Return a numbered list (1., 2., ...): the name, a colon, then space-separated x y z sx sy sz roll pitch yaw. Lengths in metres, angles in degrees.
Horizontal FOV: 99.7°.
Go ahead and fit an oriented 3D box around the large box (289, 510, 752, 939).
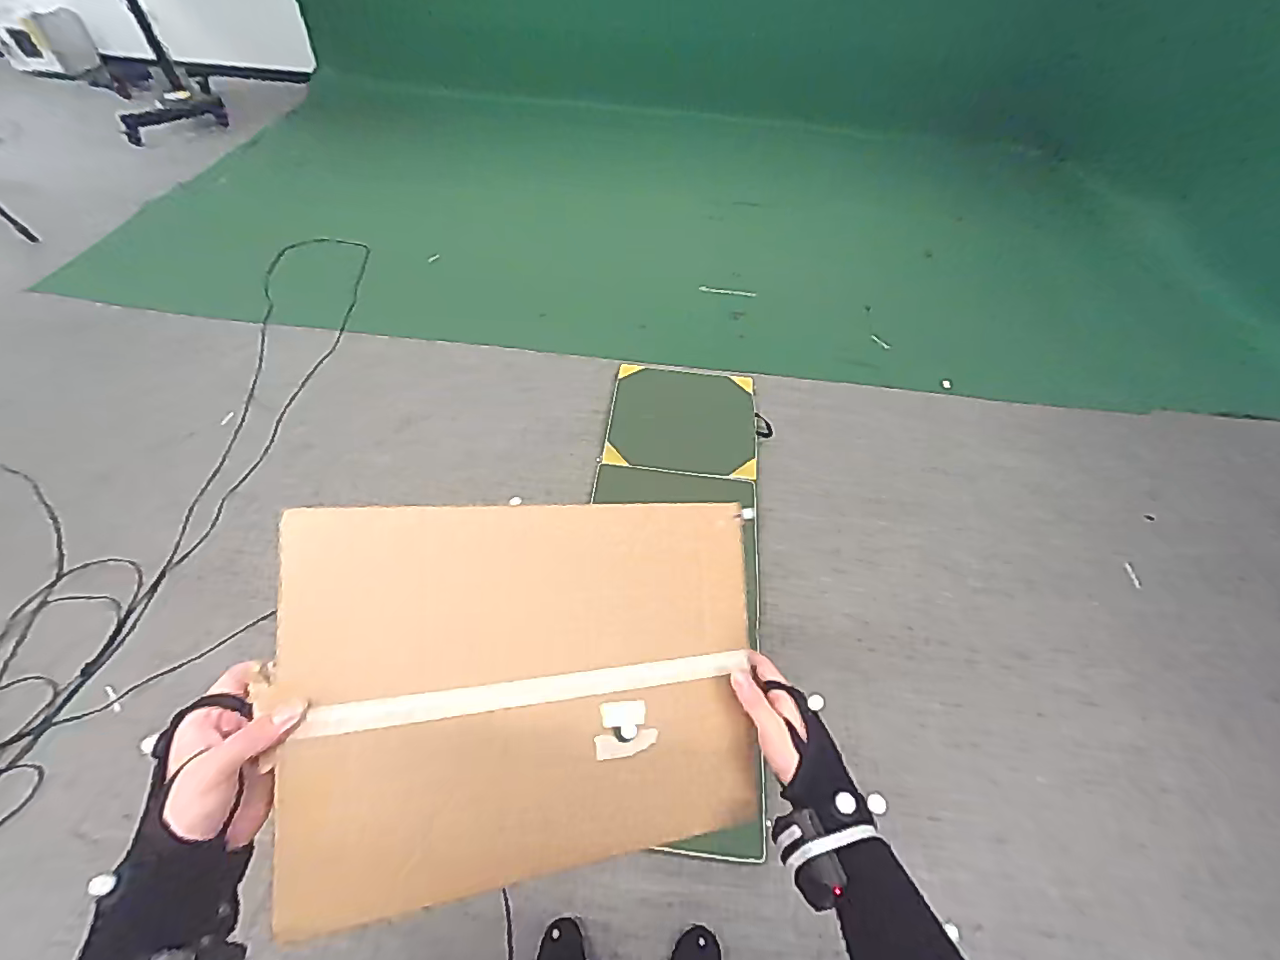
1. large box: -0.134 0.202 0.618 0.408 0.320 0.320 0 85 -21
